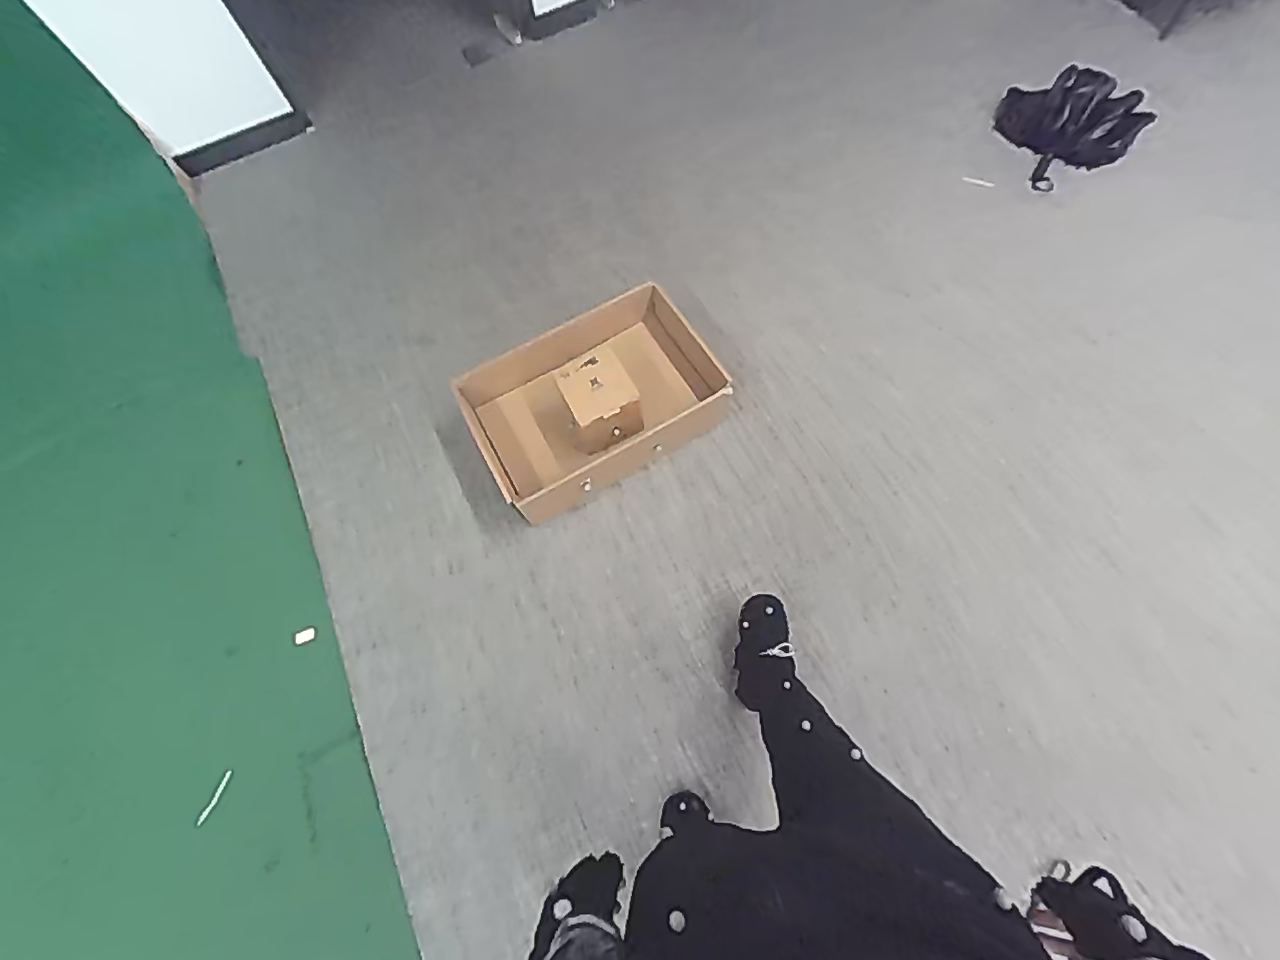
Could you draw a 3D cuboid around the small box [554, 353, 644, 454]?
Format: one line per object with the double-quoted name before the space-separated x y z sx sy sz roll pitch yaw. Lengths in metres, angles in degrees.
"small box" -0.099 -0.188 1.400 0.168 0.176 0.179 -27 69 -6
